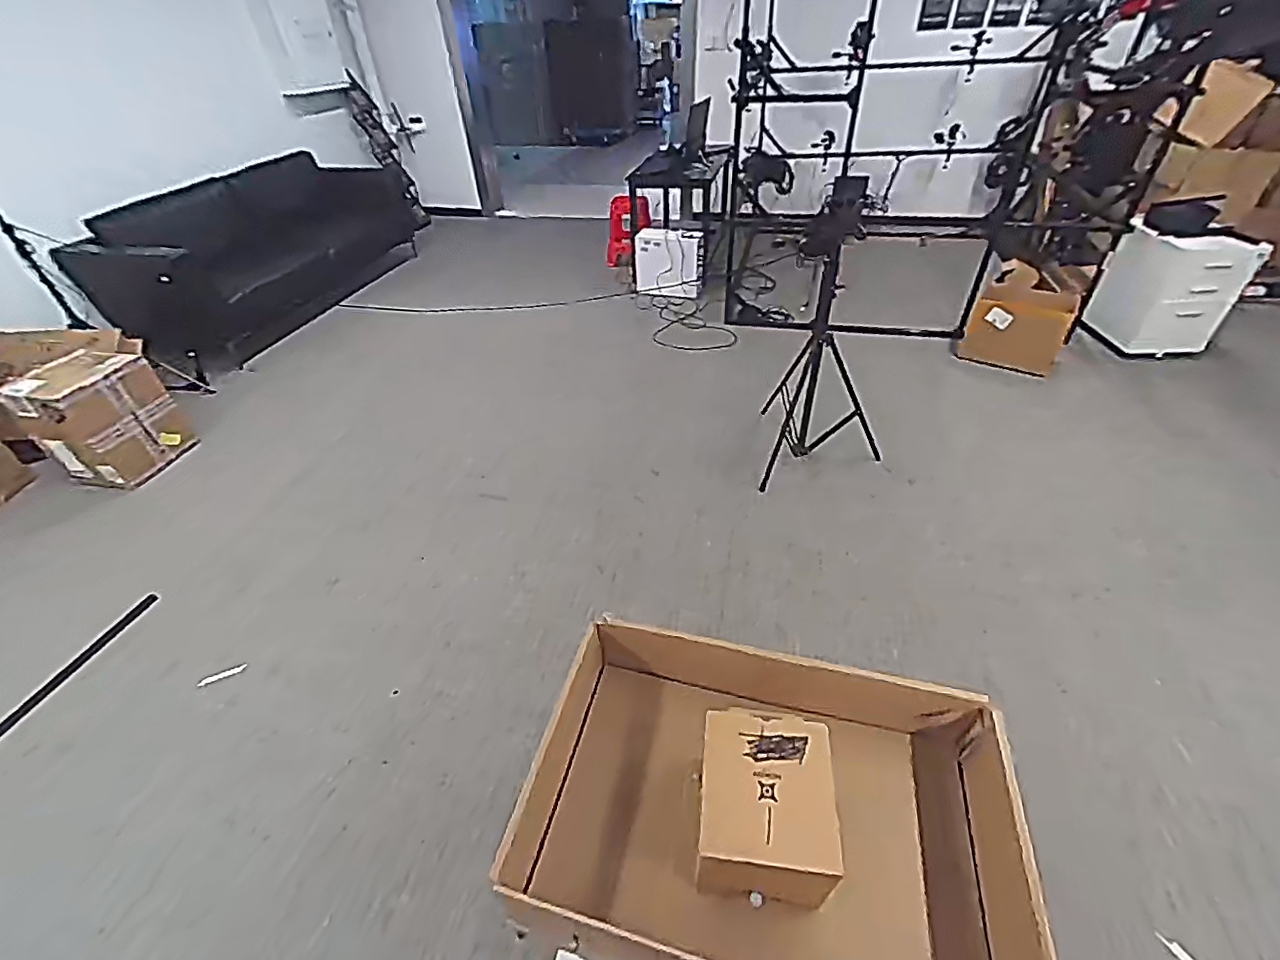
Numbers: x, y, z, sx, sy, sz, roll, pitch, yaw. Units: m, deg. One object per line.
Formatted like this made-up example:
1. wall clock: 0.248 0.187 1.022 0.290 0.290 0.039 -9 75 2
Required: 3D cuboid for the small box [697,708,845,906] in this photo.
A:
1. small box: 0.166 0.441 0.733 0.168 0.176 0.179 3 42 8
